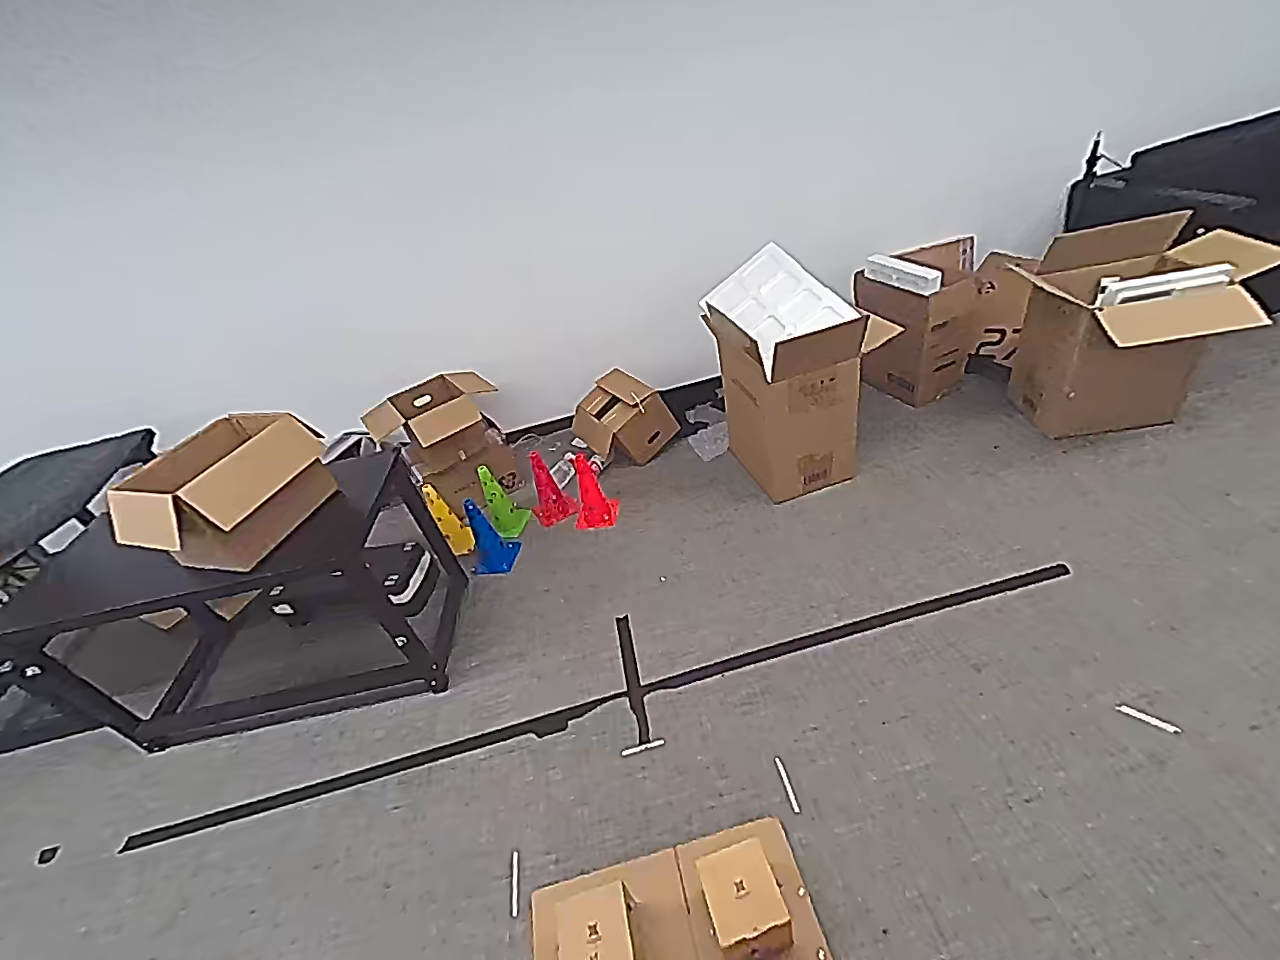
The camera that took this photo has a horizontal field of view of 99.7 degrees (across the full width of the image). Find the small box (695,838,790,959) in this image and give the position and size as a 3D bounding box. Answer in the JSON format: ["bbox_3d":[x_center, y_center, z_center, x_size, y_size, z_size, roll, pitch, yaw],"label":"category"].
[{"bbox_3d":[0.242,0.999,1.279,0.168,0.176,0.179,-18,36,-6],"label":"small box"}]

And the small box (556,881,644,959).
[{"bbox_3d":[-0.090,1.086,1.261,0.168,0.176,0.179,-17,37,-3],"label":"small box"}]
